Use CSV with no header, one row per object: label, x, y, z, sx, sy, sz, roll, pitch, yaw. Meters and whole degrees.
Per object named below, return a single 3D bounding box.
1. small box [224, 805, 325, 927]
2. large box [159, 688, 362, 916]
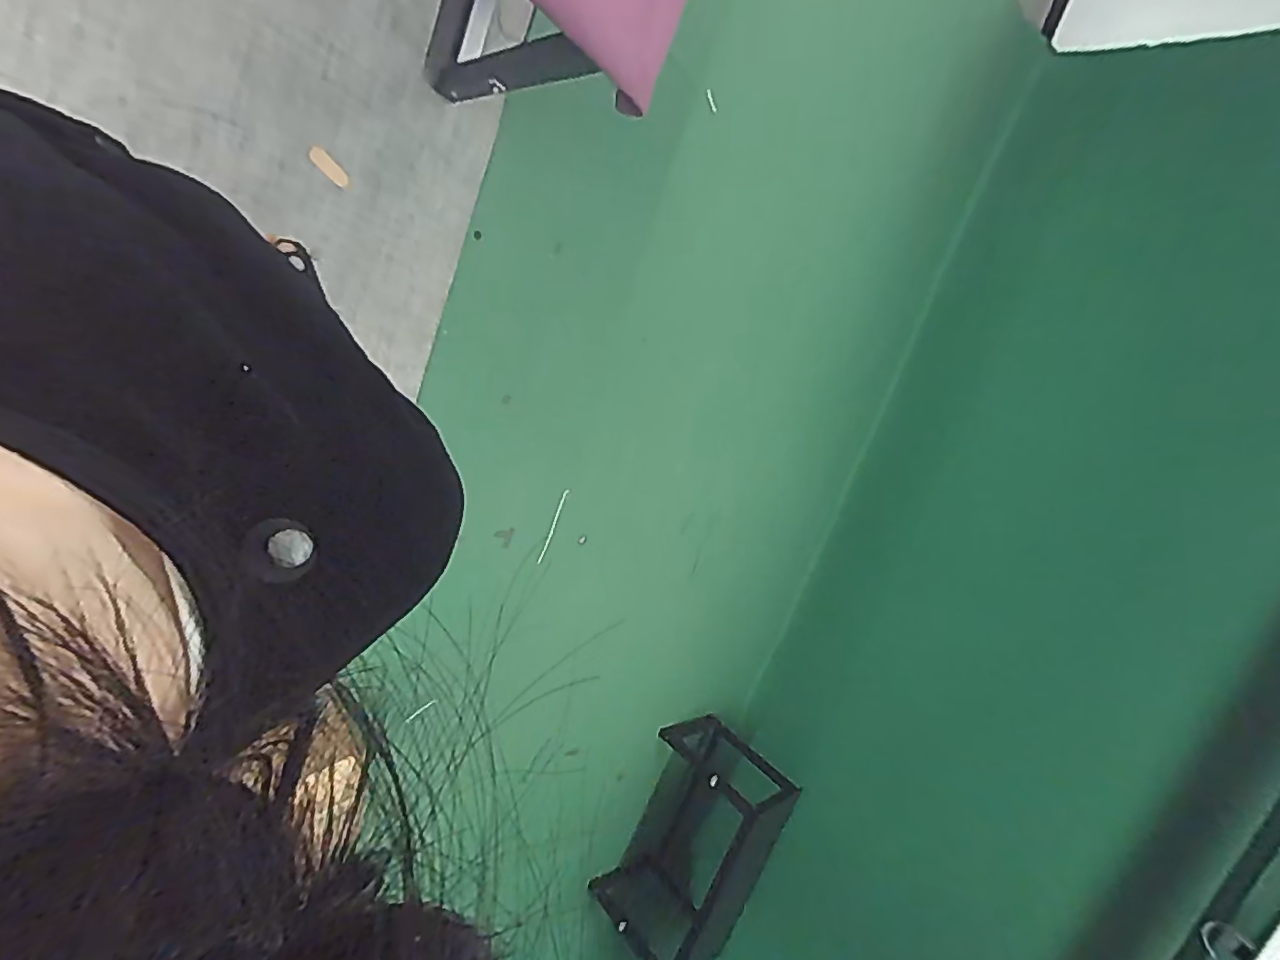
small box,-0.902,0.952,1.333,0.179,0.176,0.168,-4,112,-44
large box,-1.046,0.860,1.511,0.408,0.320,0.320,-9,119,-44
